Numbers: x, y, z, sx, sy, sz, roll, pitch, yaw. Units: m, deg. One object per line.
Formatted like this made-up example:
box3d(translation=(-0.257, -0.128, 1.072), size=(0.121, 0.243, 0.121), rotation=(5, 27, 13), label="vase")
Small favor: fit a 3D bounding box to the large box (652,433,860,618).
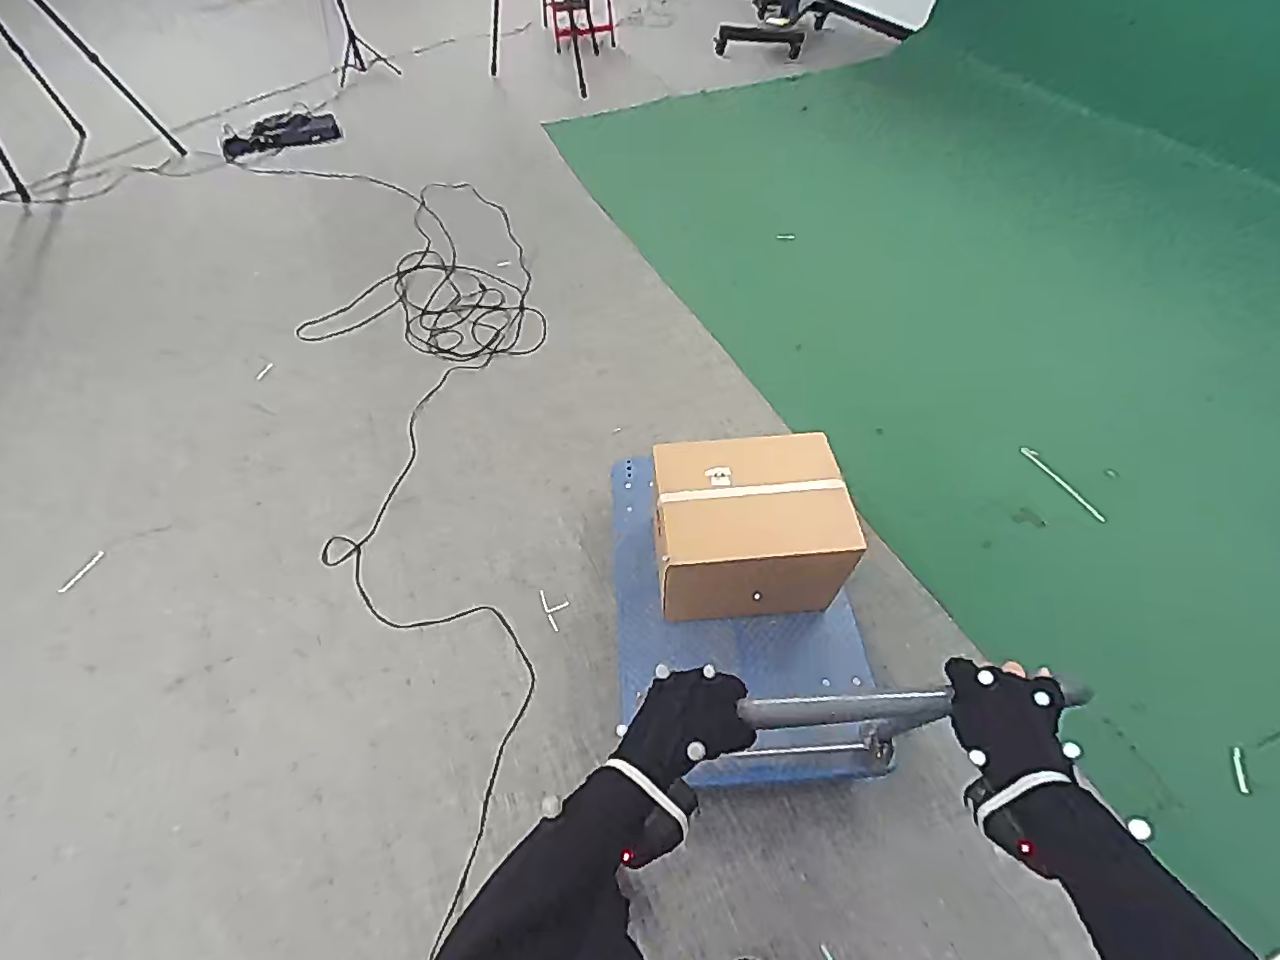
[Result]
box3d(translation=(0.245, 0.116, 1.296), size=(0.408, 0.320, 0.320), rotation=(-5, 54, -1), label="large box")
